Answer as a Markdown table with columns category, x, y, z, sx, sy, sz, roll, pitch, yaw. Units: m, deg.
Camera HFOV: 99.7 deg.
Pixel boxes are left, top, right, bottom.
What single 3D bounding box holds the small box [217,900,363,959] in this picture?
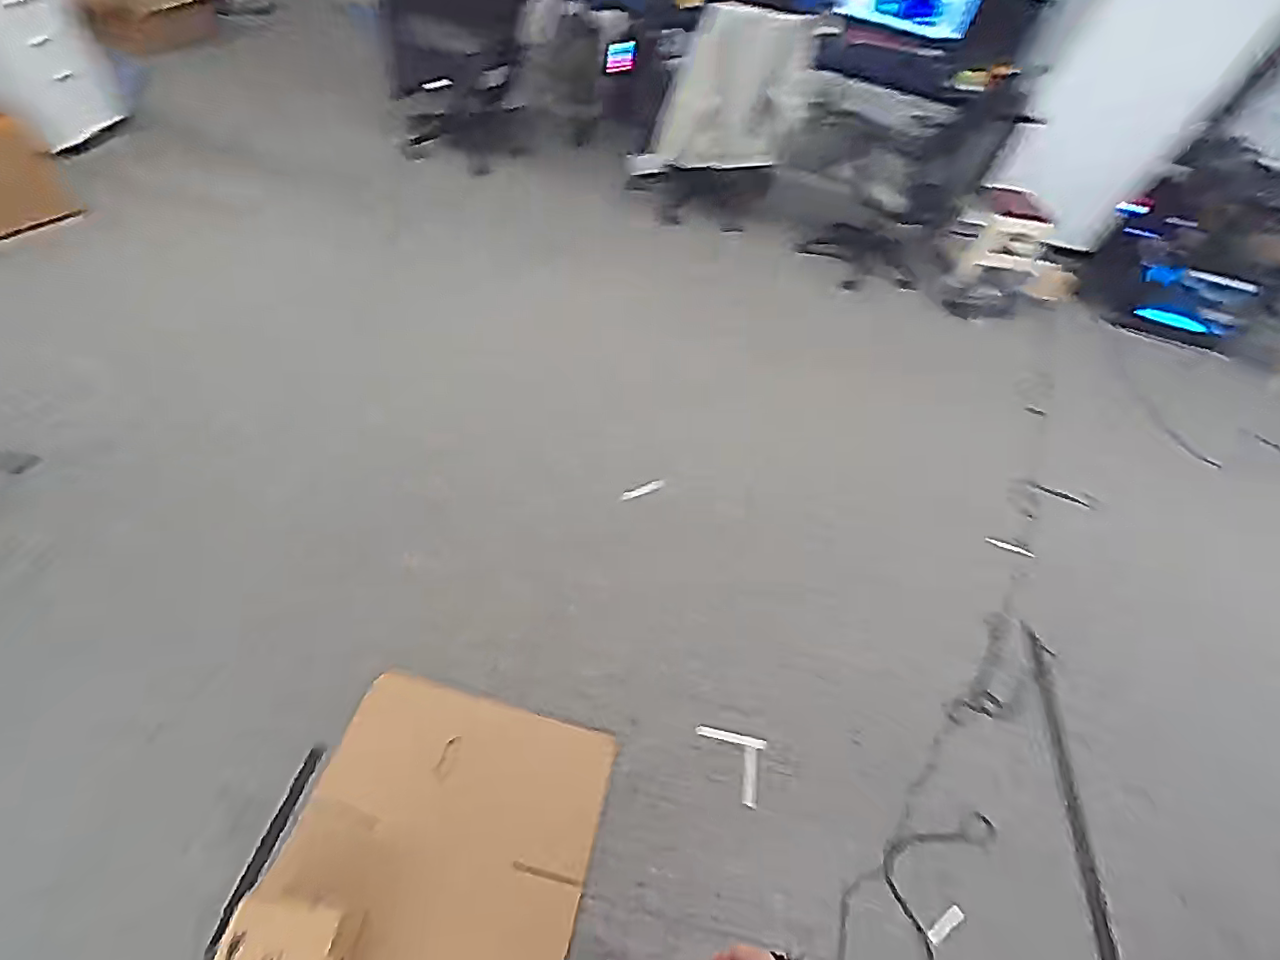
| category | x | y | z | sx | sy | sz | roll | pitch | yaw |
| --- | --- | --- | --- | --- | --- | --- | --- | --- | --- |
| small box | -0.607 | 0.835 | 0.930 | 0.179 | 0.176 | 0.168 | 10 | 51 | -5 |
